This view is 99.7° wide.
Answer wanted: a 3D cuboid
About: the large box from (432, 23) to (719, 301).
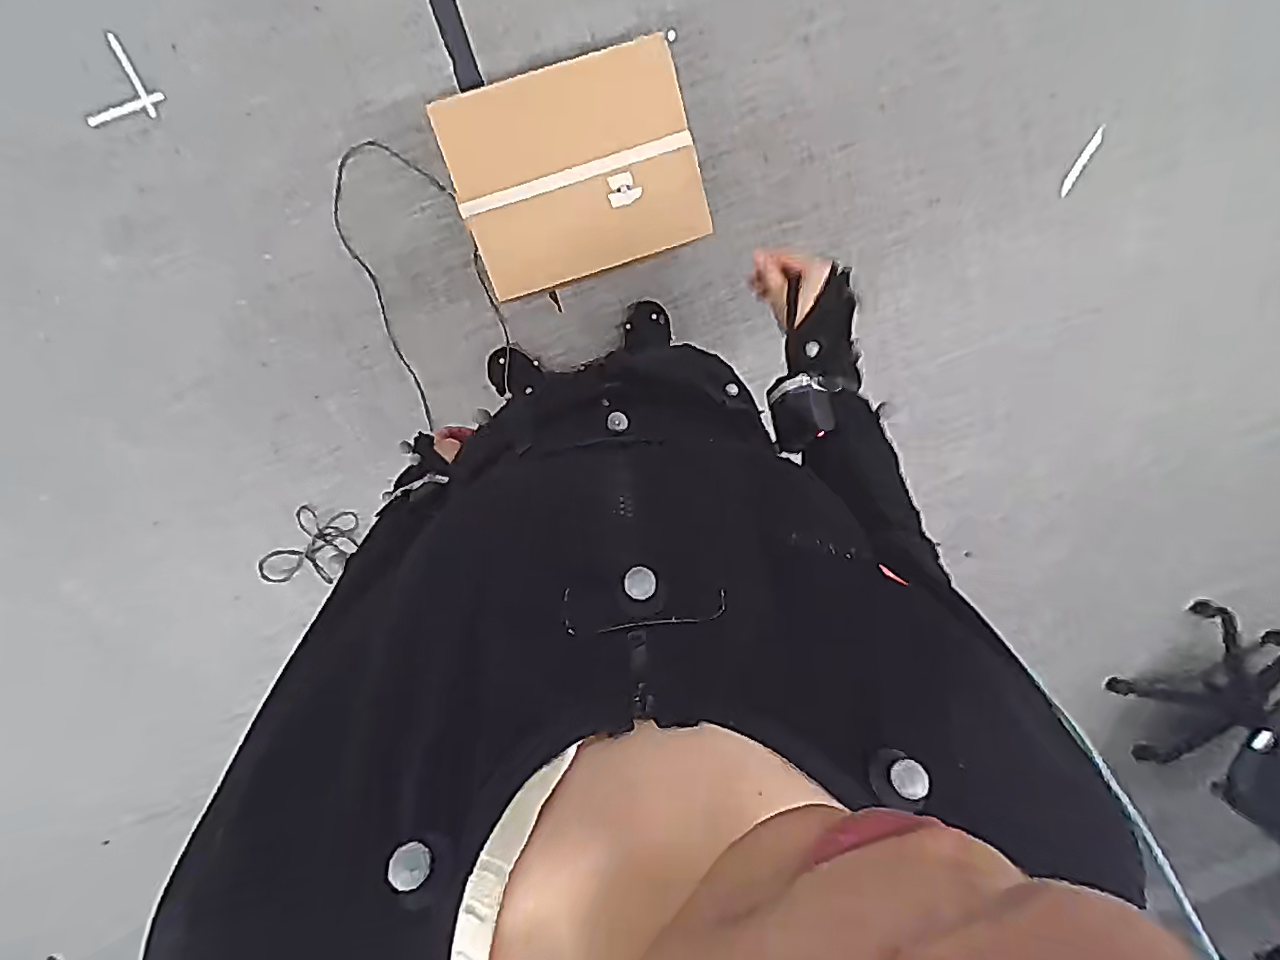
[{"bbox_3d":[-0.113,-0.557,1.026,0.408,0.320,0.320,-19,110,-2],"label":"large box"}]
